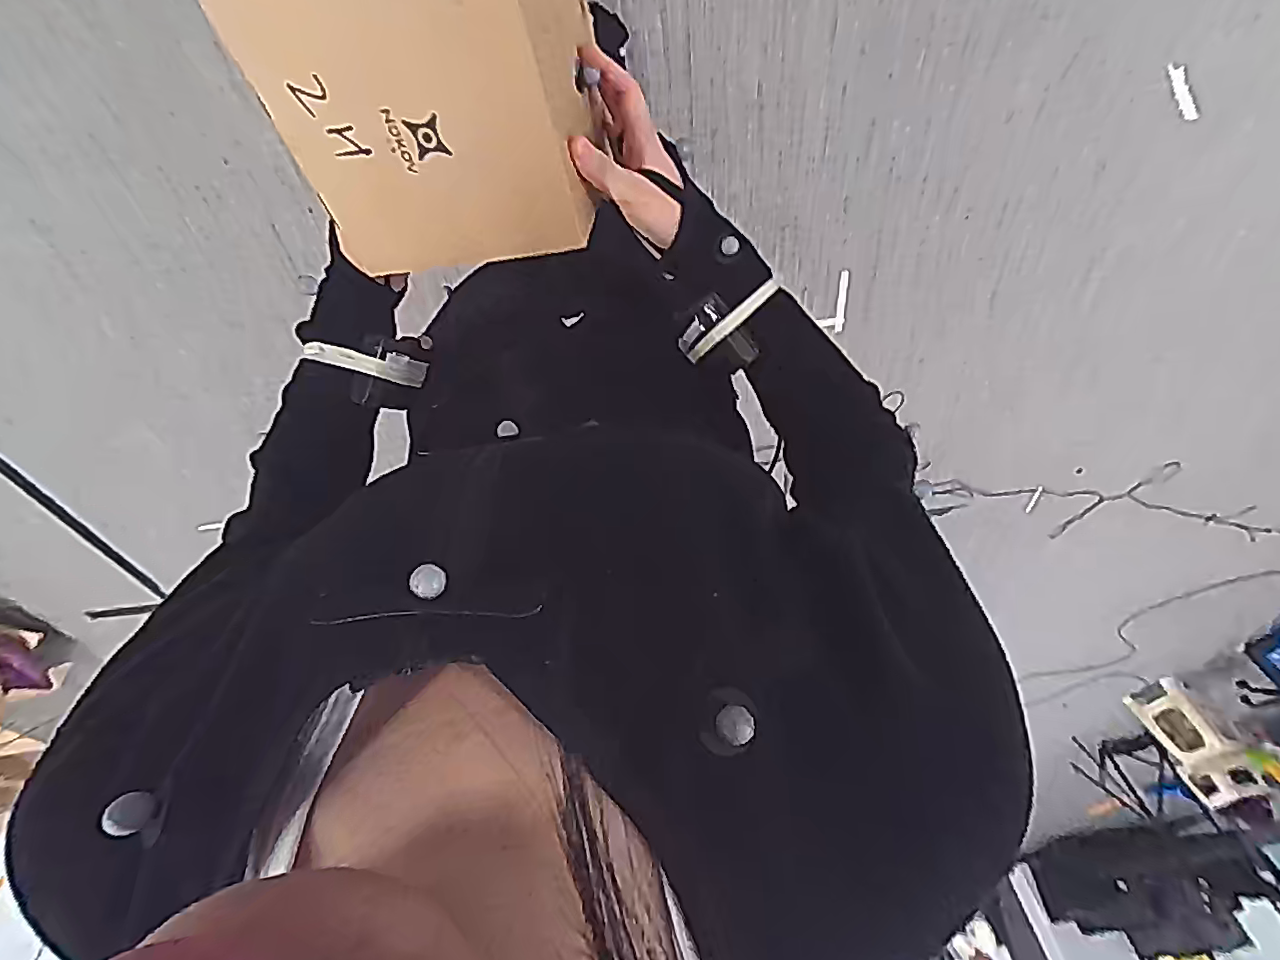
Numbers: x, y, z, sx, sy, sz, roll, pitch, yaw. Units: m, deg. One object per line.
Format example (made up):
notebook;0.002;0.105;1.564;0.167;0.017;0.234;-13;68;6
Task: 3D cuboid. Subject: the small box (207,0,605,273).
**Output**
small box;-0.128;-0.275;0.381;0.179;0.176;0.168;-3;140;13
